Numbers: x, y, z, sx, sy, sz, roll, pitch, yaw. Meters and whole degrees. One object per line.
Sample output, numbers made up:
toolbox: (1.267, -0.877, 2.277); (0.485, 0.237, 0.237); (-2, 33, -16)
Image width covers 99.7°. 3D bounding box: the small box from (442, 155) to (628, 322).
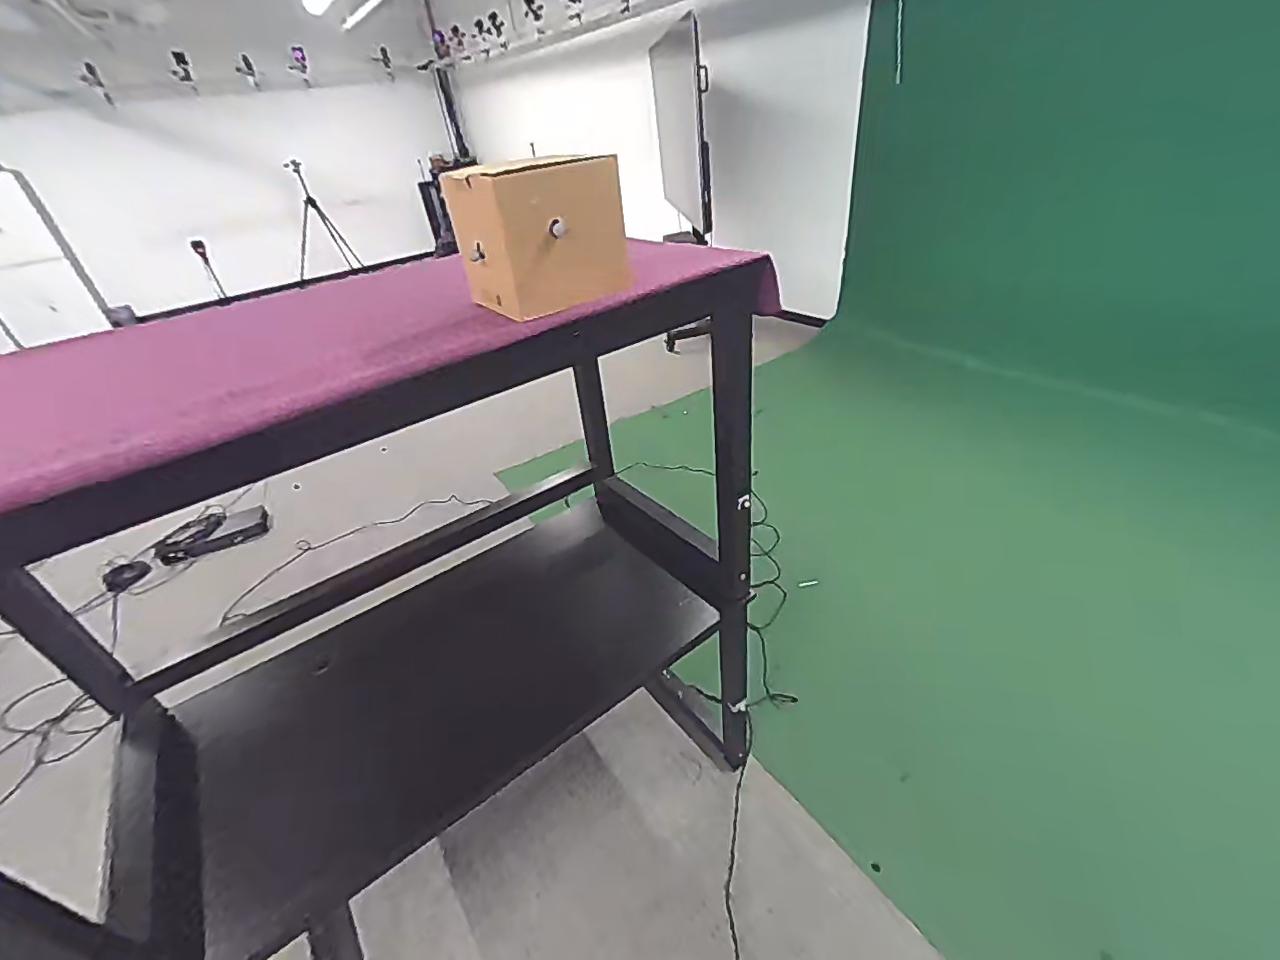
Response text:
small box: (-0.135, -0.328, 0.732); (0.179, 0.176, 0.168); (-28, 40, -26)
